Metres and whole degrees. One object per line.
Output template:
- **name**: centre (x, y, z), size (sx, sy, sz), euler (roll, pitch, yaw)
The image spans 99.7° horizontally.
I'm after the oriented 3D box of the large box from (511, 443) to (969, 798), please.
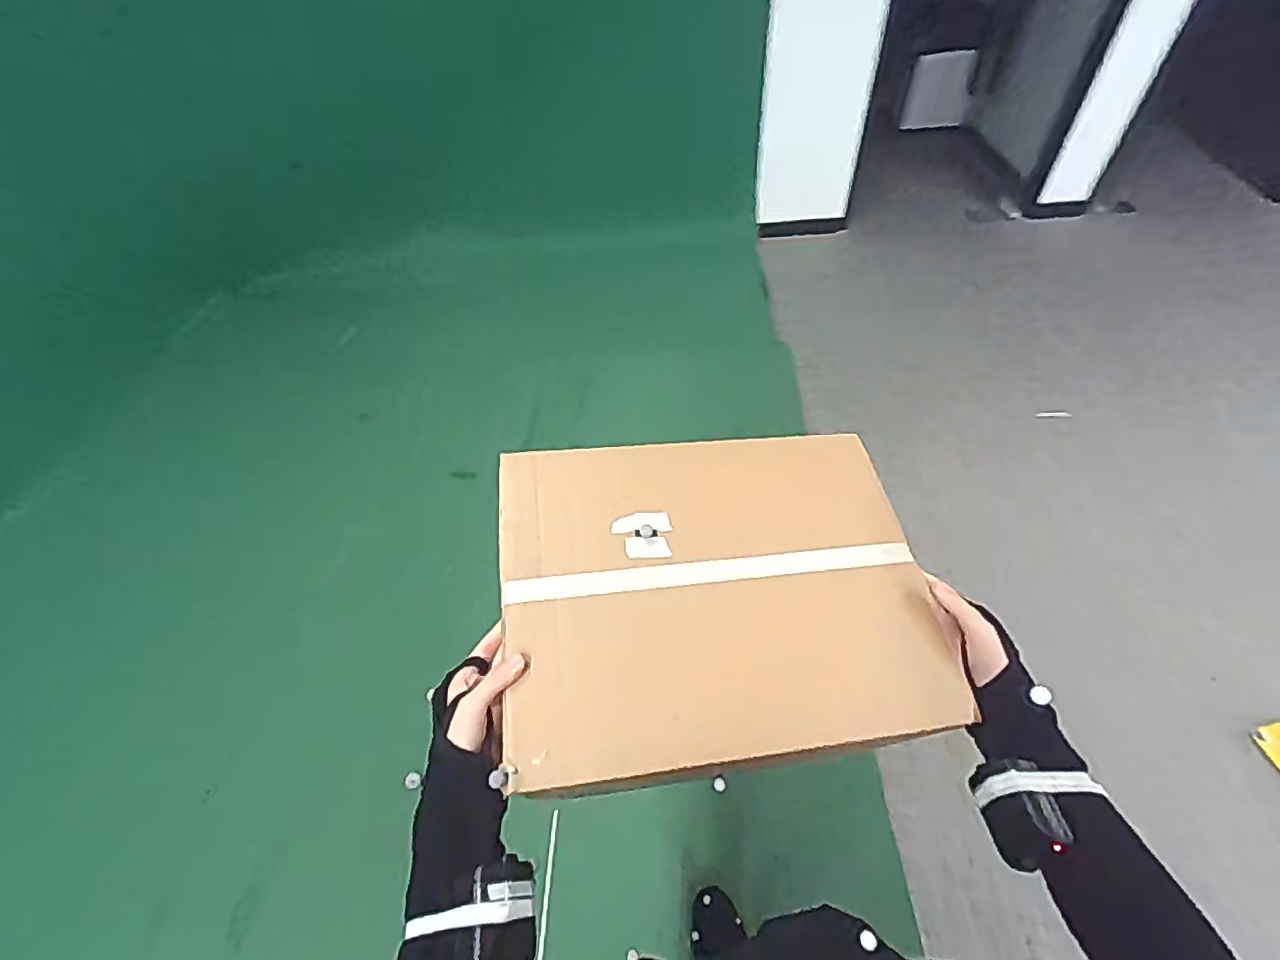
- **large box**: centre (0.069, 0.178, 0.653), size (0.408, 0.320, 0.320), euler (-4, 58, -7)
